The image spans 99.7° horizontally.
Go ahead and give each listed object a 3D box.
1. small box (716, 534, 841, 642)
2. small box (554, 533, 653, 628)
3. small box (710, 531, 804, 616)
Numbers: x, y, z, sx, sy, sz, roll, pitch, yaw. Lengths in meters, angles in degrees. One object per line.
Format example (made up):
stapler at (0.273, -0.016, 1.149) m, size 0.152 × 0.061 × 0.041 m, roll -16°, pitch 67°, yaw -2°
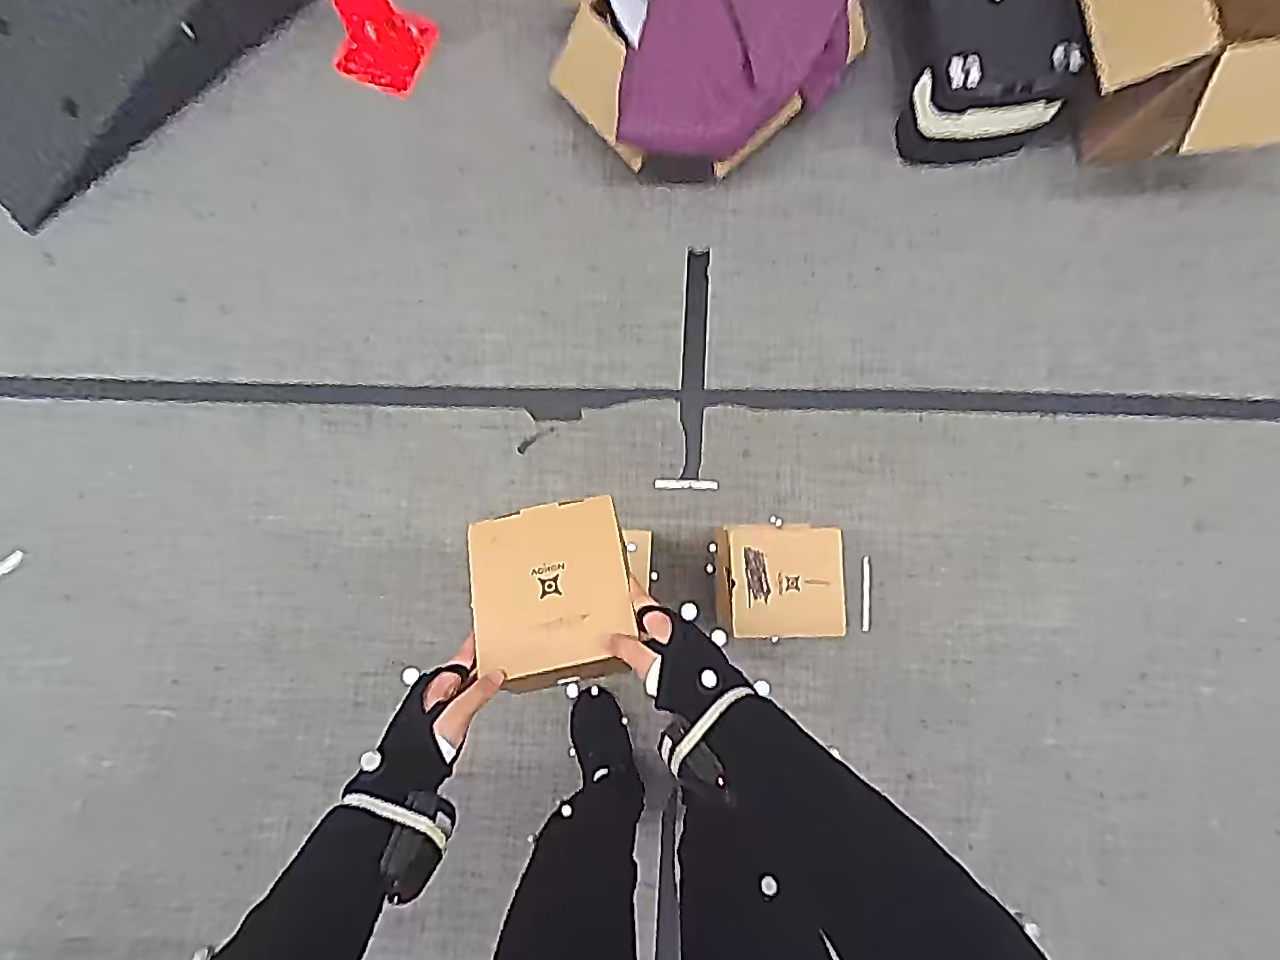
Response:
small box at (0.223, 0.176, 0.916) m, size 0.179 × 0.176 × 0.168 m, roll -1°, pitch 84°, yaw 0°
small box at (-0.066, 0.194, 1.083) m, size 0.179 × 0.176 × 0.168 m, roll 3°, pitch 84°, yaw 2°
small box at (0.232, 0.191, 1.080) m, size 0.168 × 0.176 × 0.179 m, roll -1°, pitch 84°, yaw 1°
